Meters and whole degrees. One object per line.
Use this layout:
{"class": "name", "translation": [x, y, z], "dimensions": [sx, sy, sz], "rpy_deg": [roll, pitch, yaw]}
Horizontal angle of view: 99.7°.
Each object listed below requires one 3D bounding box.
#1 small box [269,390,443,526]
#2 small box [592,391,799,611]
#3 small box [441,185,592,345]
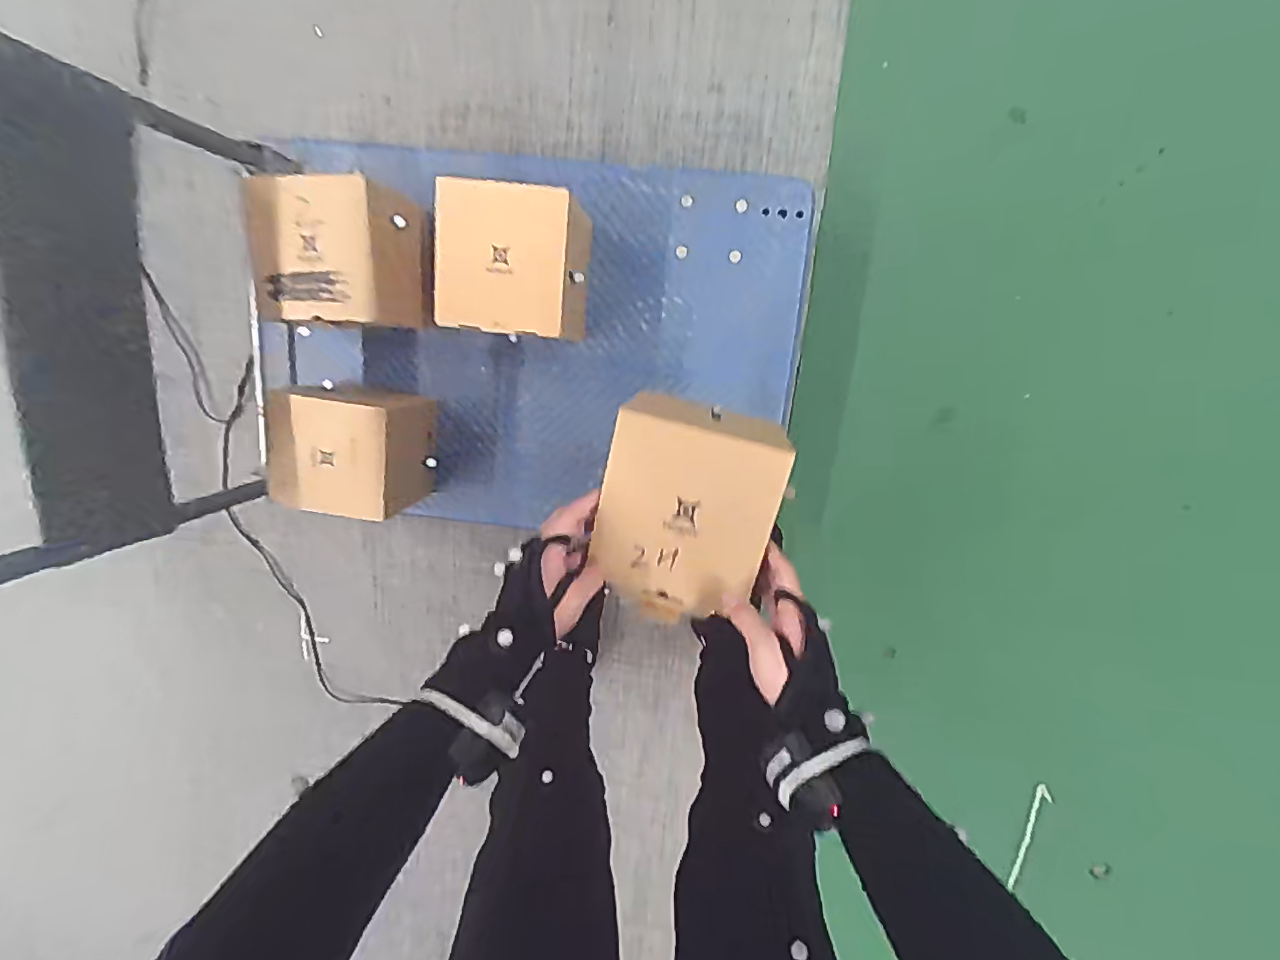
{"class": "small box", "translation": [-0.426, -0.043, 0.828], "dimensions": [0.179, 0.176, 0.168], "rpy_deg": [9, 104, 2]}
{"class": "small box", "translation": [0.060, 0.009, 0.596], "dimensions": [0.168, 0.176, 0.179], "rpy_deg": [15, 108, 6]}
{"class": "small box", "translation": [-0.162, -0.286, 0.753], "dimensions": [0.168, 0.176, 0.179], "rpy_deg": [7, 105, 3]}
